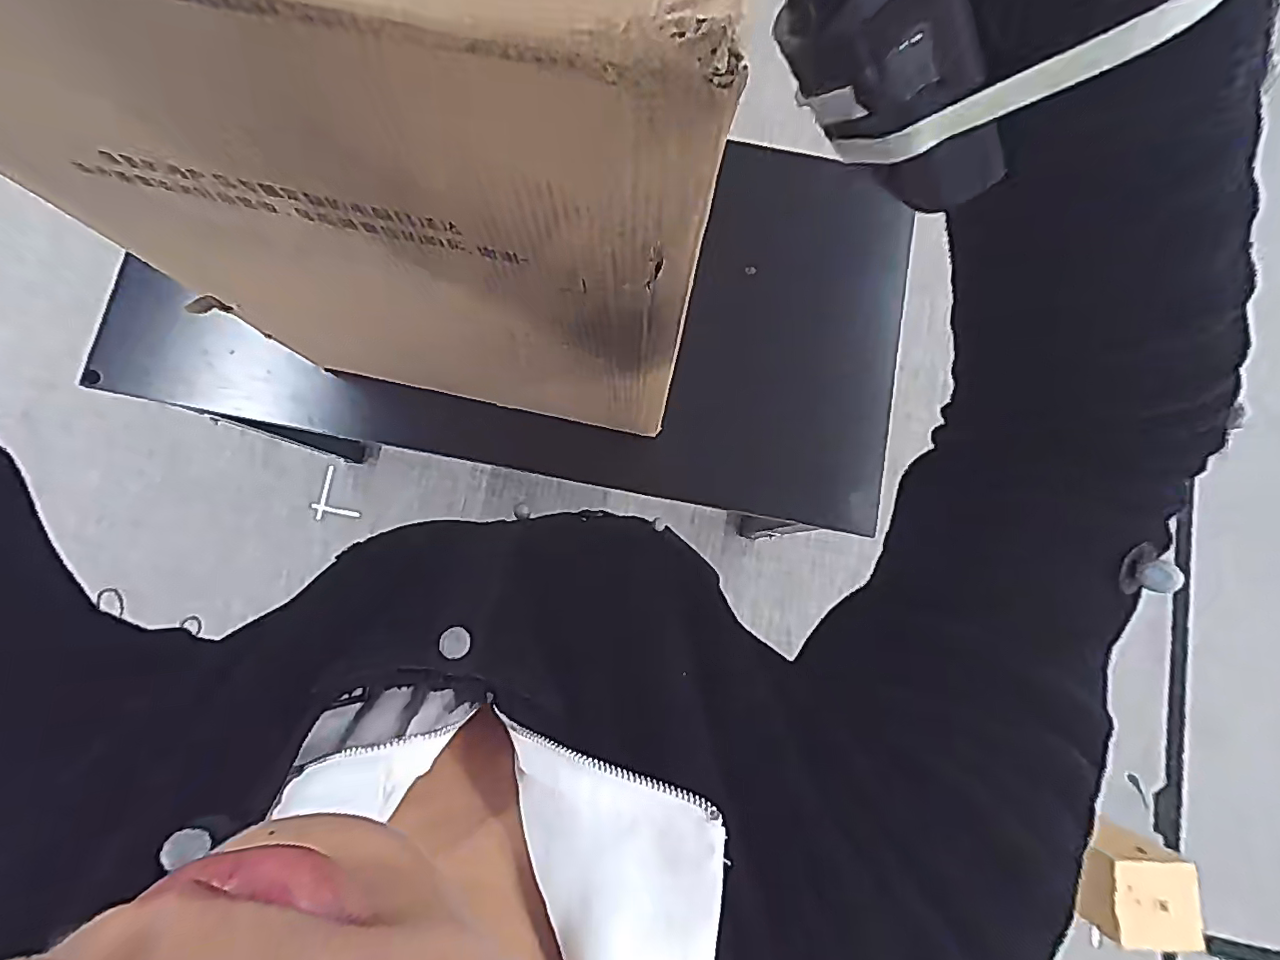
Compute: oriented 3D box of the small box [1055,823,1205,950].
[{"bbox_3d":[1.062,0.881,1.185,0.179,0.176,0.168,3,81,-1],"label":"small box"}]
